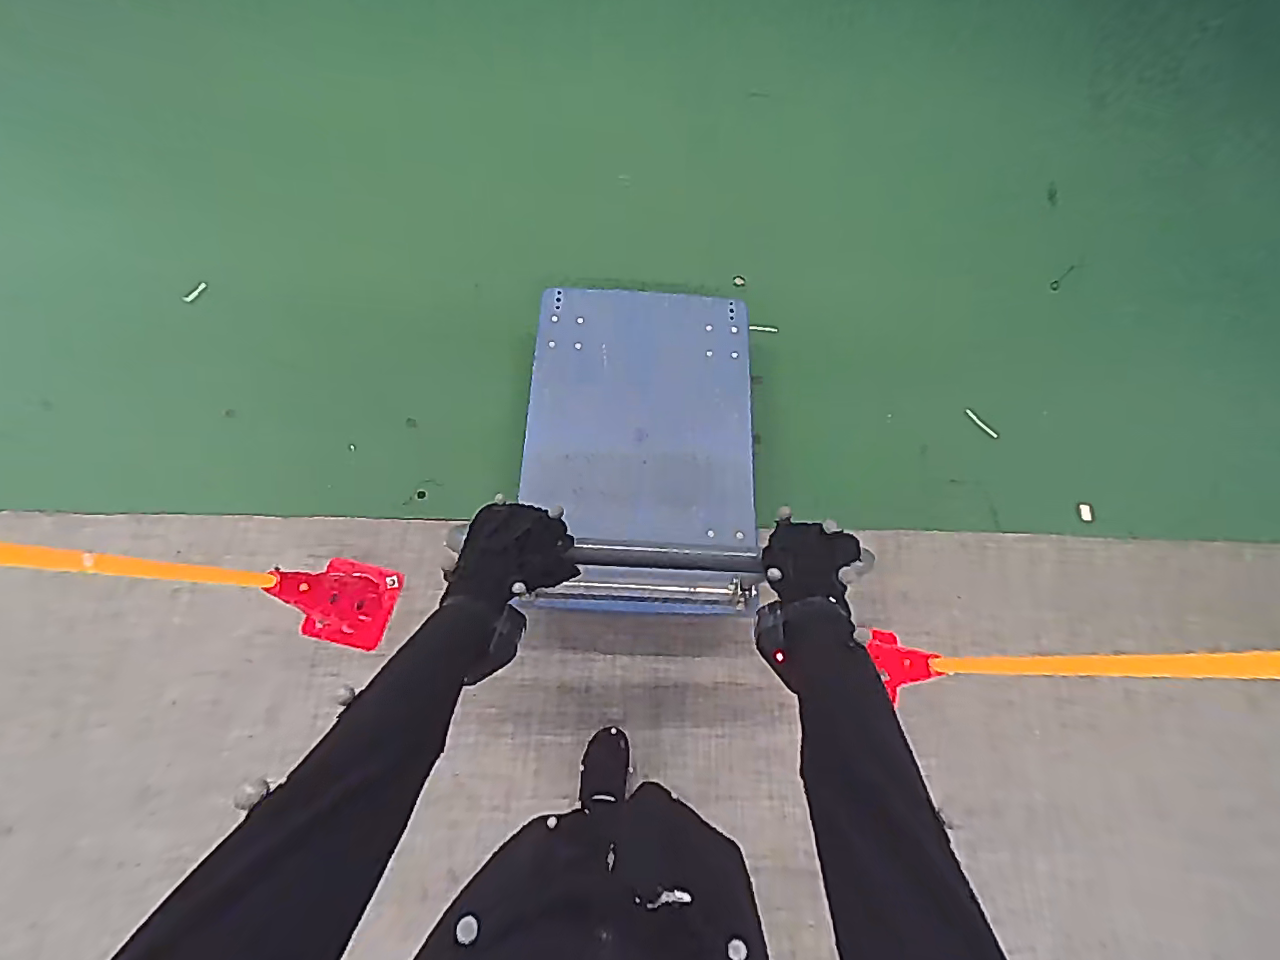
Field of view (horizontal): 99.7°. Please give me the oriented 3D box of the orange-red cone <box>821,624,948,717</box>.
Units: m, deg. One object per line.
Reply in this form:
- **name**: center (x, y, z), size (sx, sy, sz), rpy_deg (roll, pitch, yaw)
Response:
- **orange-red cone**: center (0.571, 0.423, 1.208), size (0.198, 0.360, 0.199), rpy_deg (12, 71, 1)
